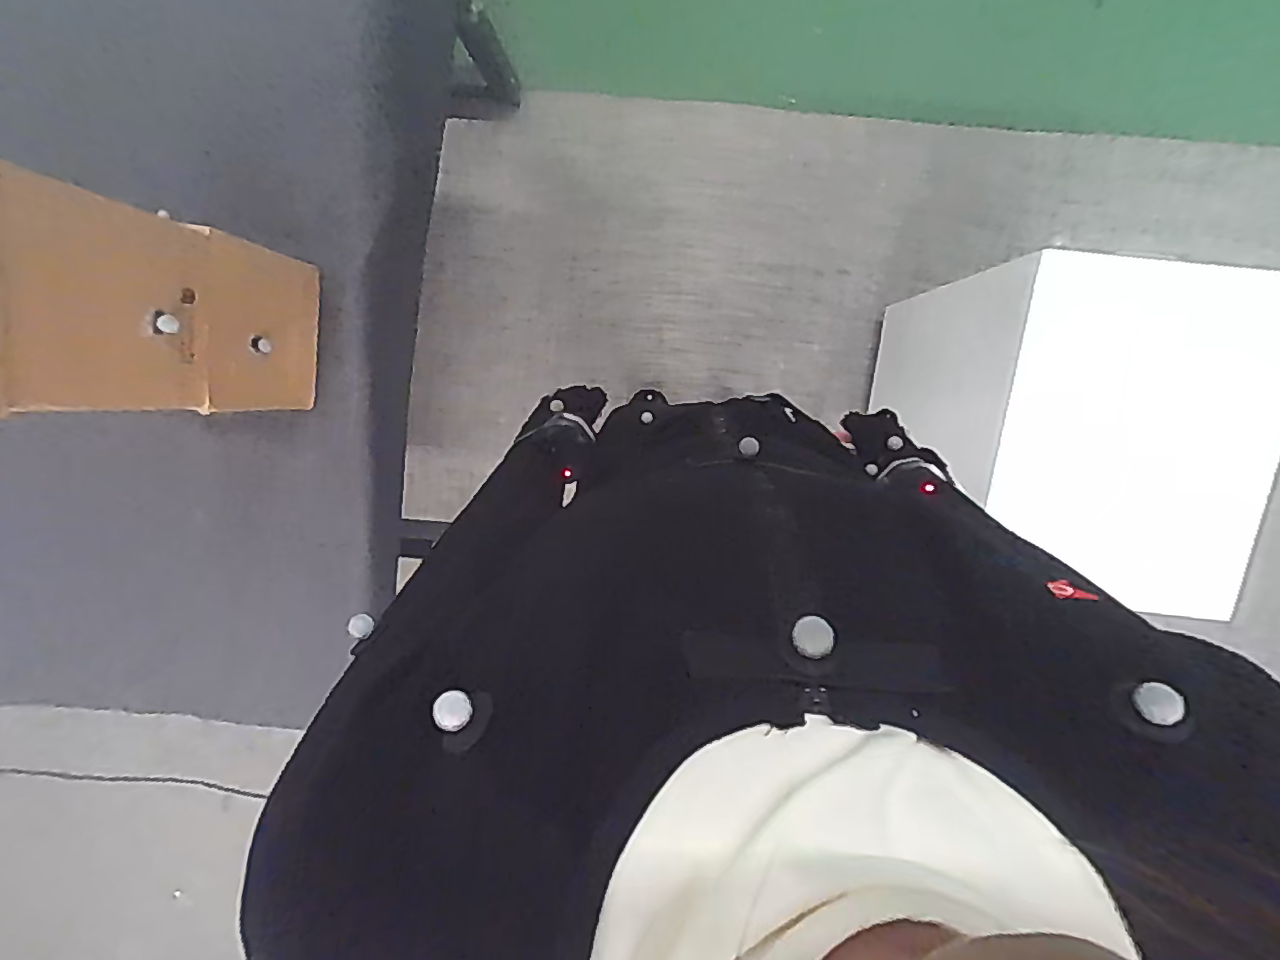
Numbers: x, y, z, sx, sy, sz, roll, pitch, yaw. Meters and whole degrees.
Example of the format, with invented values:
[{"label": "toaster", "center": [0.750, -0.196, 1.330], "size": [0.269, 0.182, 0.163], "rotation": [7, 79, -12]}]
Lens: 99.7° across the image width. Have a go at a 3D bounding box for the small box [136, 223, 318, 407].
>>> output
[{"label": "small box", "center": [-0.492, -0.183, 0.606], "size": [0.168, 0.176, 0.179], "rotation": [9, 101, 2]}]
